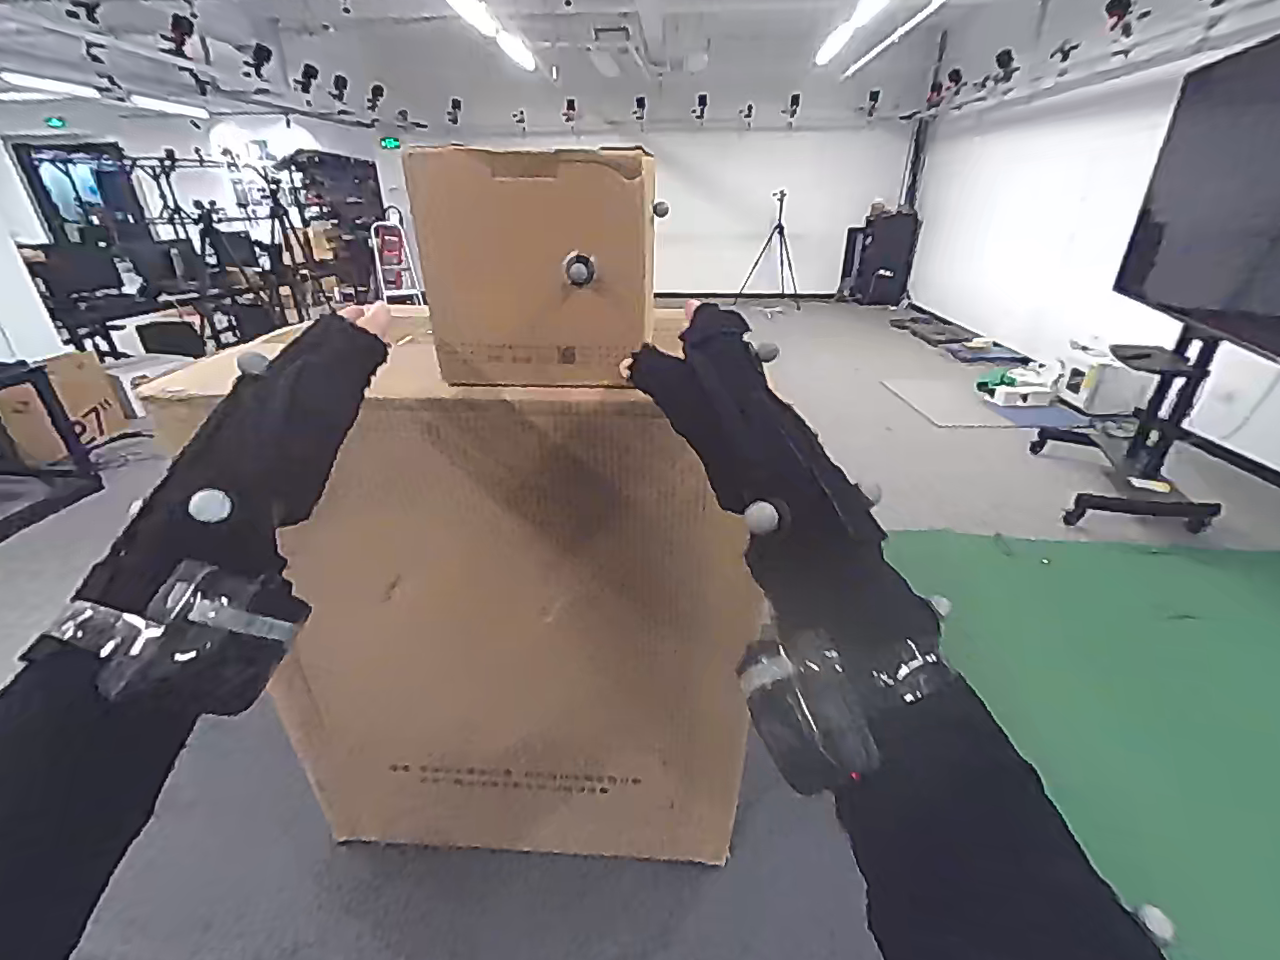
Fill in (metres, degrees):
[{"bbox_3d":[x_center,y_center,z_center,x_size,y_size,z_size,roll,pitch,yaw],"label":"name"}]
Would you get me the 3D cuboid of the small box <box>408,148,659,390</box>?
[{"bbox_3d":[-0.072,-0.184,0.470,0.168,0.176,0.179,4,28,3],"label":"small box"}]
